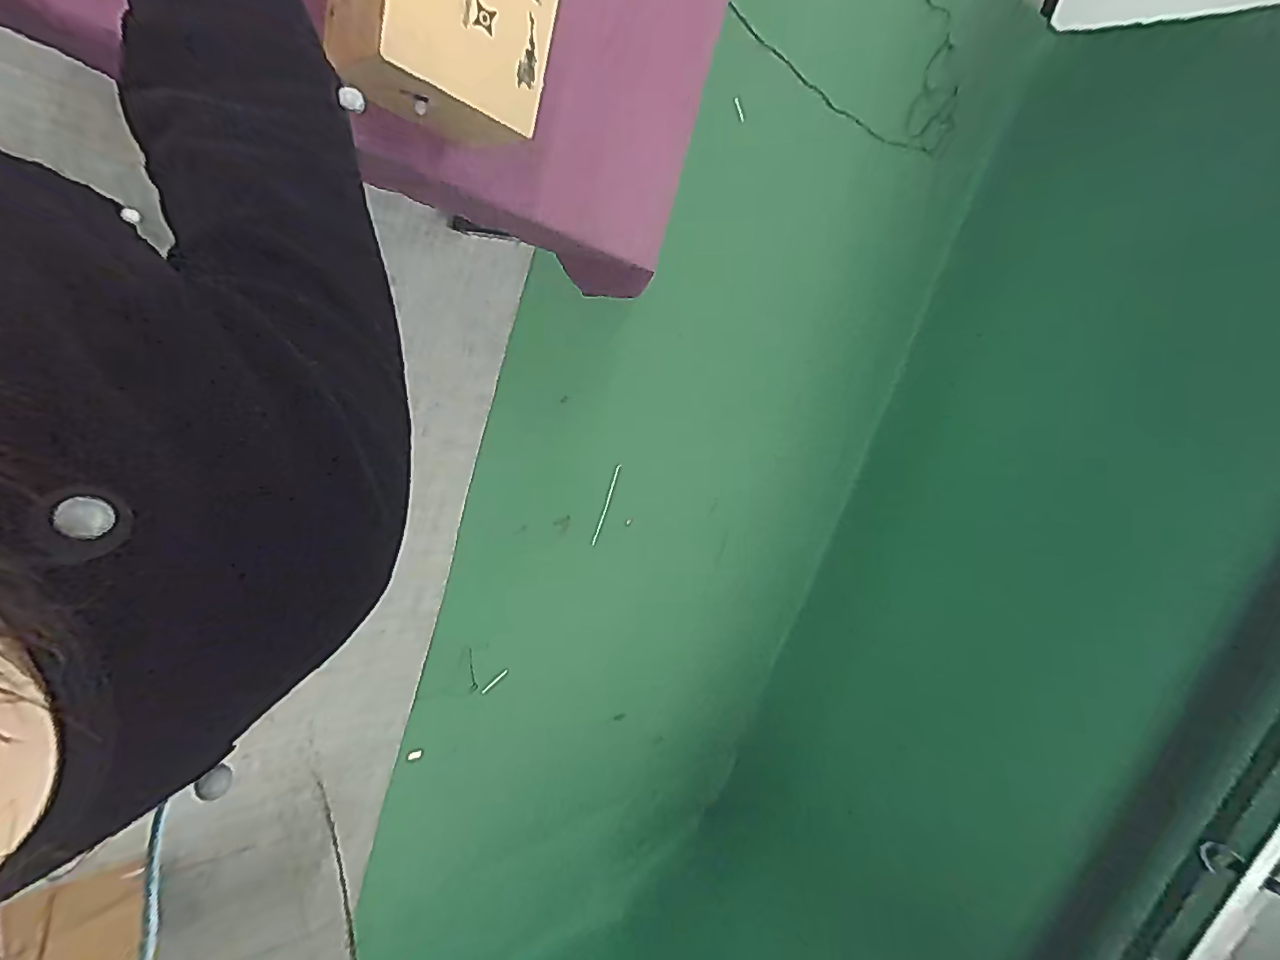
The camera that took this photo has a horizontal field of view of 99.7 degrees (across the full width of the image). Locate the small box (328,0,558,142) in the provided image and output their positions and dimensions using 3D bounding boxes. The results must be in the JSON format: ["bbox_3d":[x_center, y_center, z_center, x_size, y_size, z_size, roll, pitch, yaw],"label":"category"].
[{"bbox_3d":[-0.217,-0.491,0.588,0.179,0.176,0.168,0,111,-46],"label":"small box"}]
